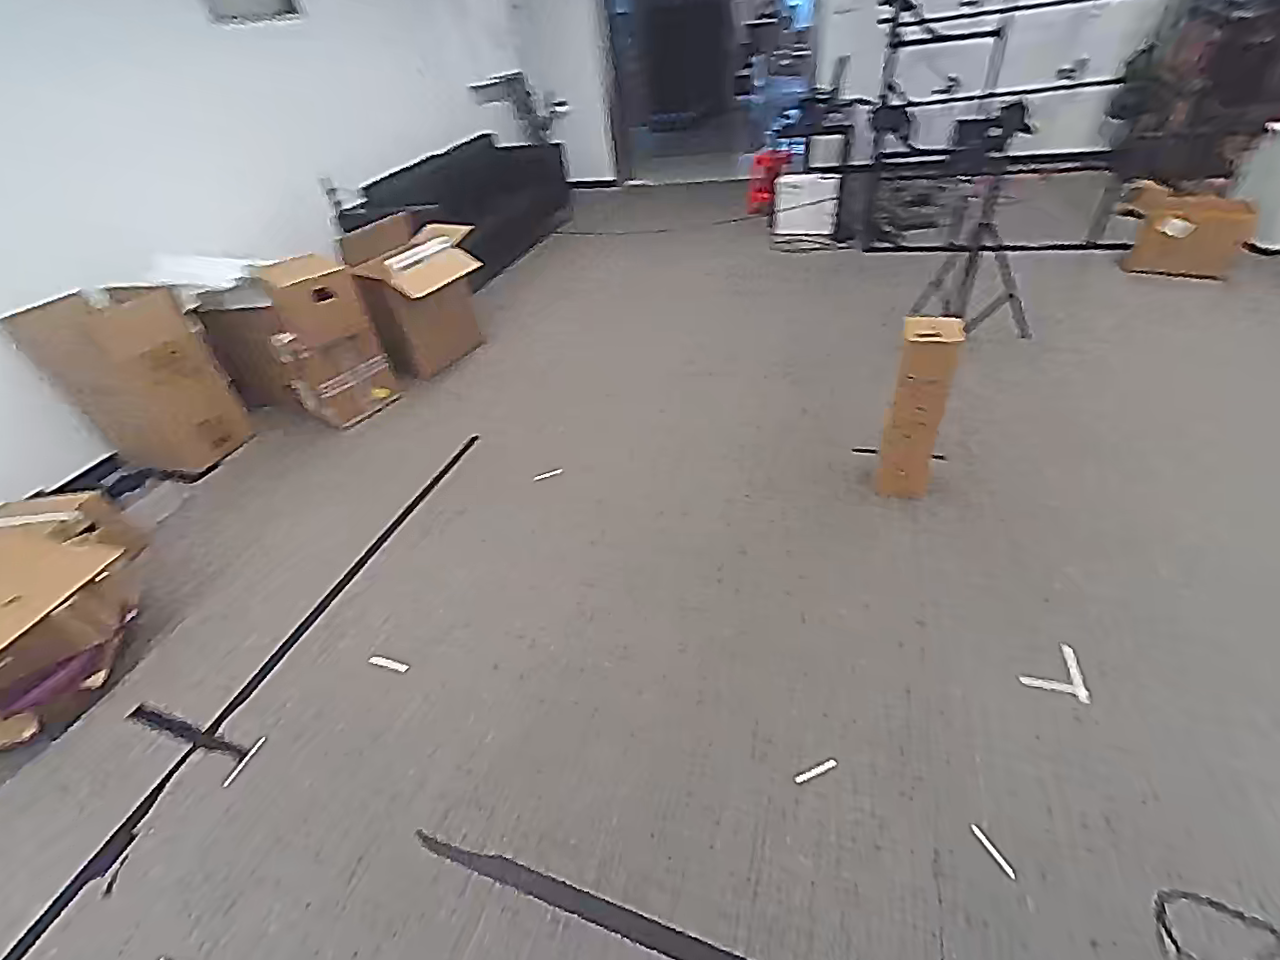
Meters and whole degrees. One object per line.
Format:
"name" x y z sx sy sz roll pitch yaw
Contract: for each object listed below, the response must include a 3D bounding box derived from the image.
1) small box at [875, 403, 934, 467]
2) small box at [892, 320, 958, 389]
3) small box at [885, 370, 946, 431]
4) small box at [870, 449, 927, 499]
"small box" 0.980 -0.167 2.010 0.179 0.176 0.168 8 44 21
"small box" 0.946 -0.418 1.802 0.168 0.176 0.179 7 42 19
"small box" 0.969 -0.291 1.905 0.168 0.176 0.179 8 44 20
"small box" 1.008 -0.044 2.116 0.179 0.176 0.168 7 43 19
